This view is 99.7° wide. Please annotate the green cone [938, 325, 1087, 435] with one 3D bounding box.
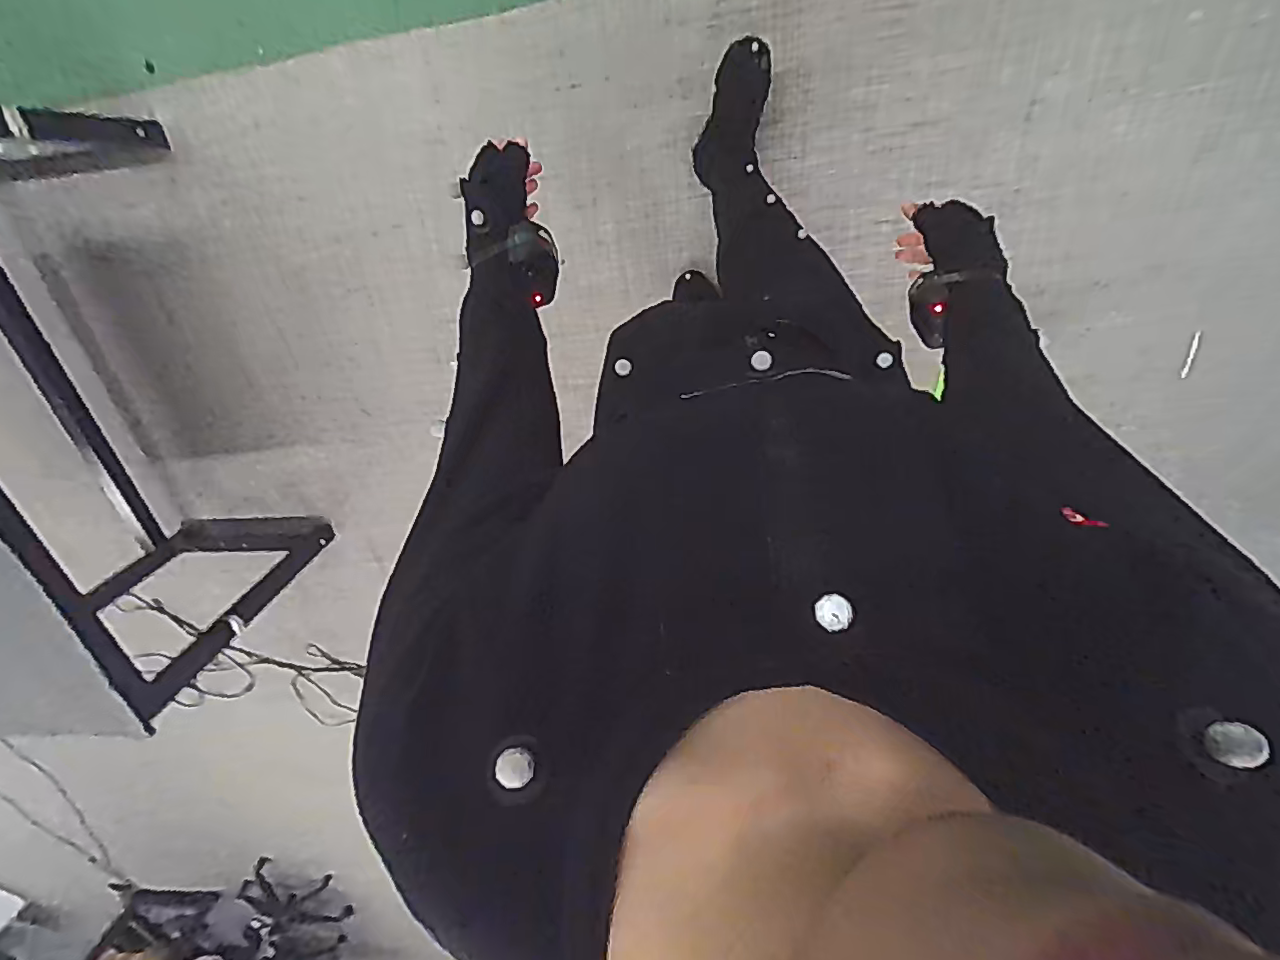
[{"bbox_3d":[0.831,-0.193,1.166,0.200,0.368,0.202,1,119,6],"label":"green cone"}]
